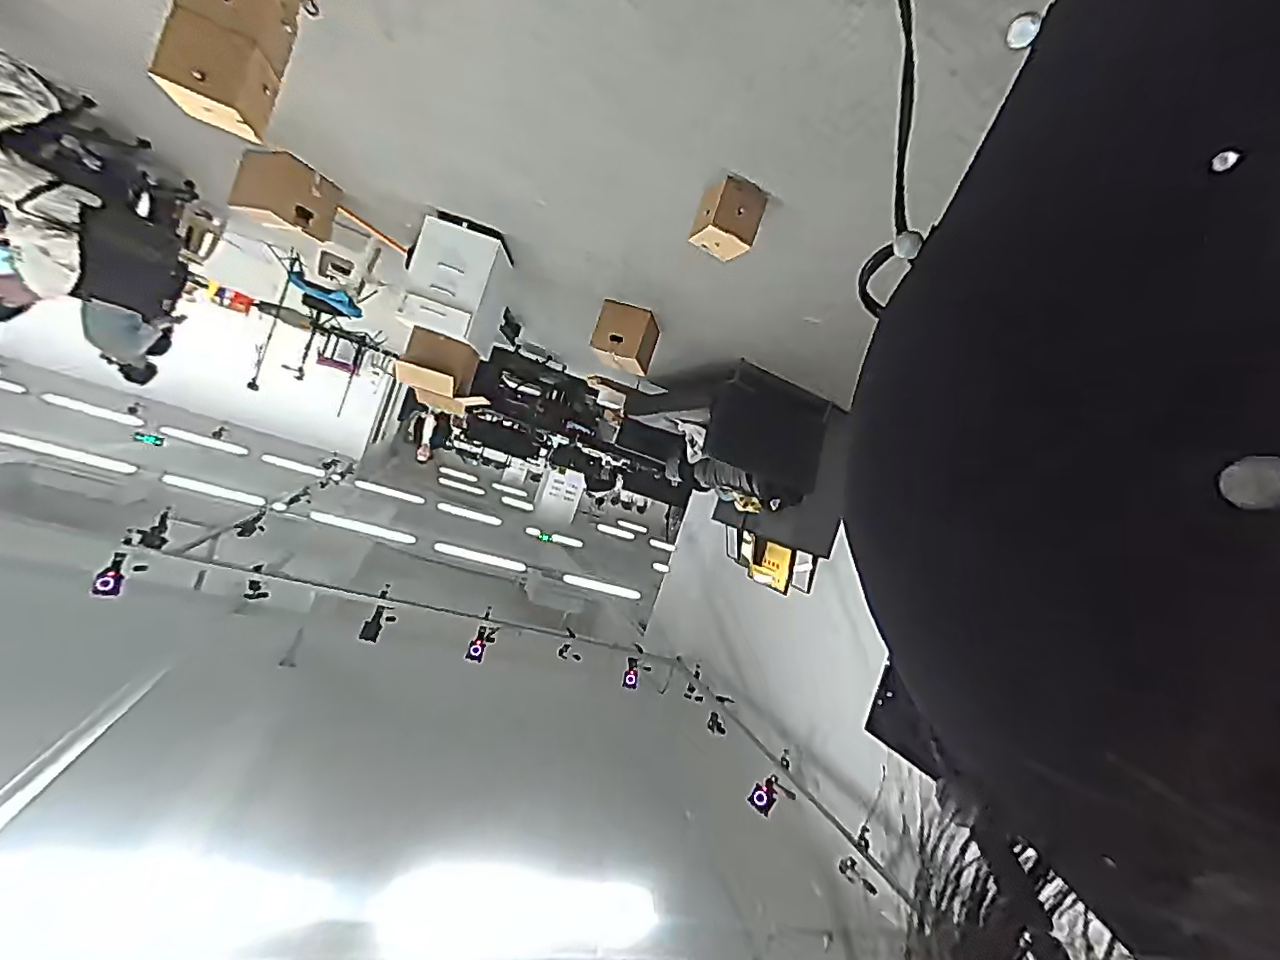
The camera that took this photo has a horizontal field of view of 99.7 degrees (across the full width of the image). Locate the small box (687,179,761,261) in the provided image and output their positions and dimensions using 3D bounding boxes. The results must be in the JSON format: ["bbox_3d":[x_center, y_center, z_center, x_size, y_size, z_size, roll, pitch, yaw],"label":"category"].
[{"bbox_3d":[0.289,-0.880,1.834,0.168,0.176,0.179,19,179,-22],"label":"small box"}]

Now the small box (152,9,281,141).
[{"bbox_3d":[-1.021,-0.986,1.319,0.179,0.176,0.168,18,180,-16],"label":"small box"}]

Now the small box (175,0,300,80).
[{"bbox_3d":[-0.974,-1.142,1.324,0.179,0.176,0.168,18,180,-17],"label":"small box"}]
